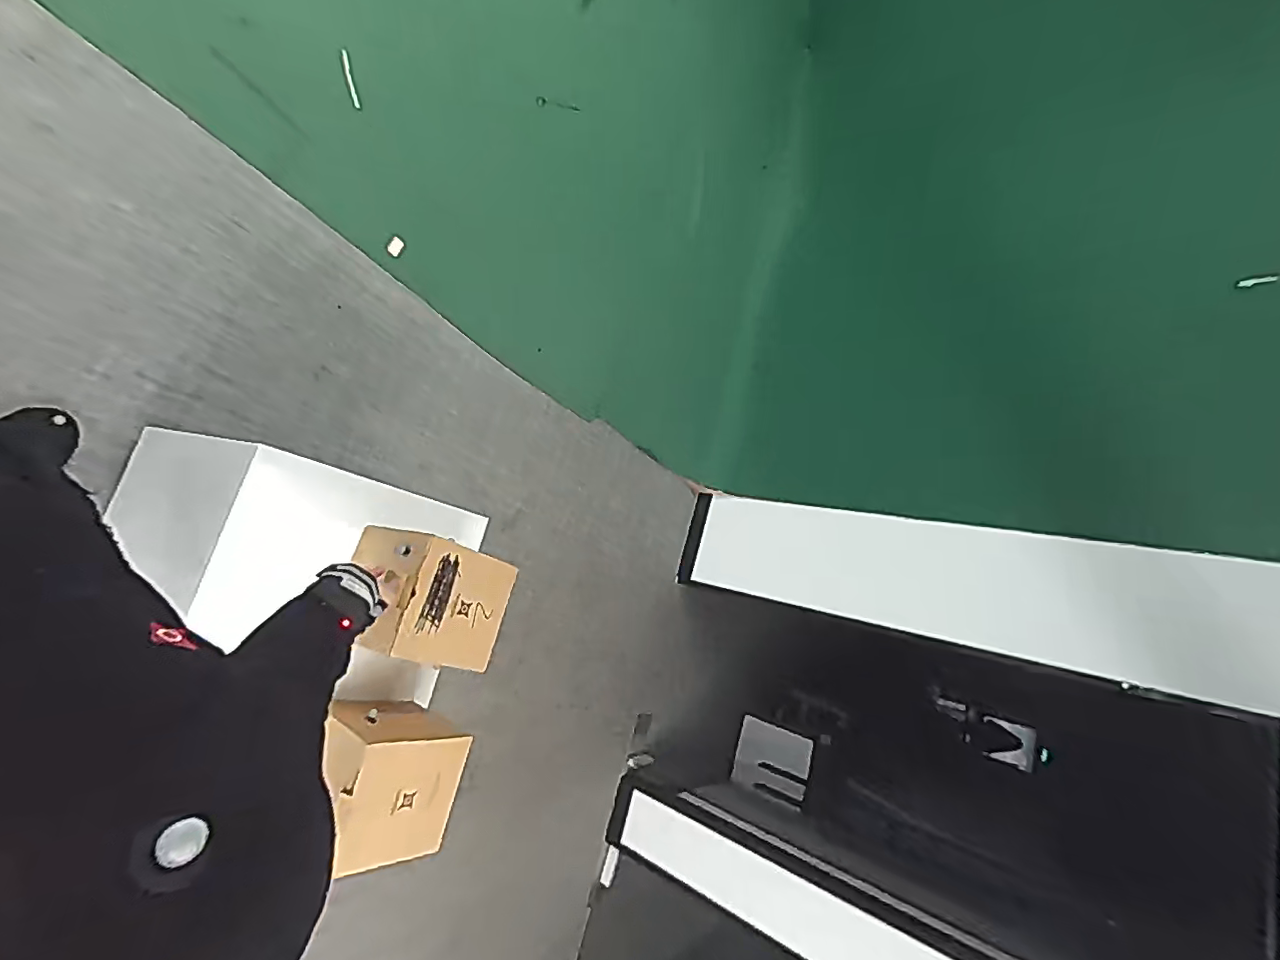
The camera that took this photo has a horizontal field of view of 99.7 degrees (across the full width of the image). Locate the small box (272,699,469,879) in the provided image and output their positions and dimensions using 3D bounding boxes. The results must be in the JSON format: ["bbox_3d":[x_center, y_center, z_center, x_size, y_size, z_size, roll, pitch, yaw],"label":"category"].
[{"bbox_3d":[-0.391,0.430,0.787,0.179,0.176,0.168,30,72,-53],"label":"small box"}]
